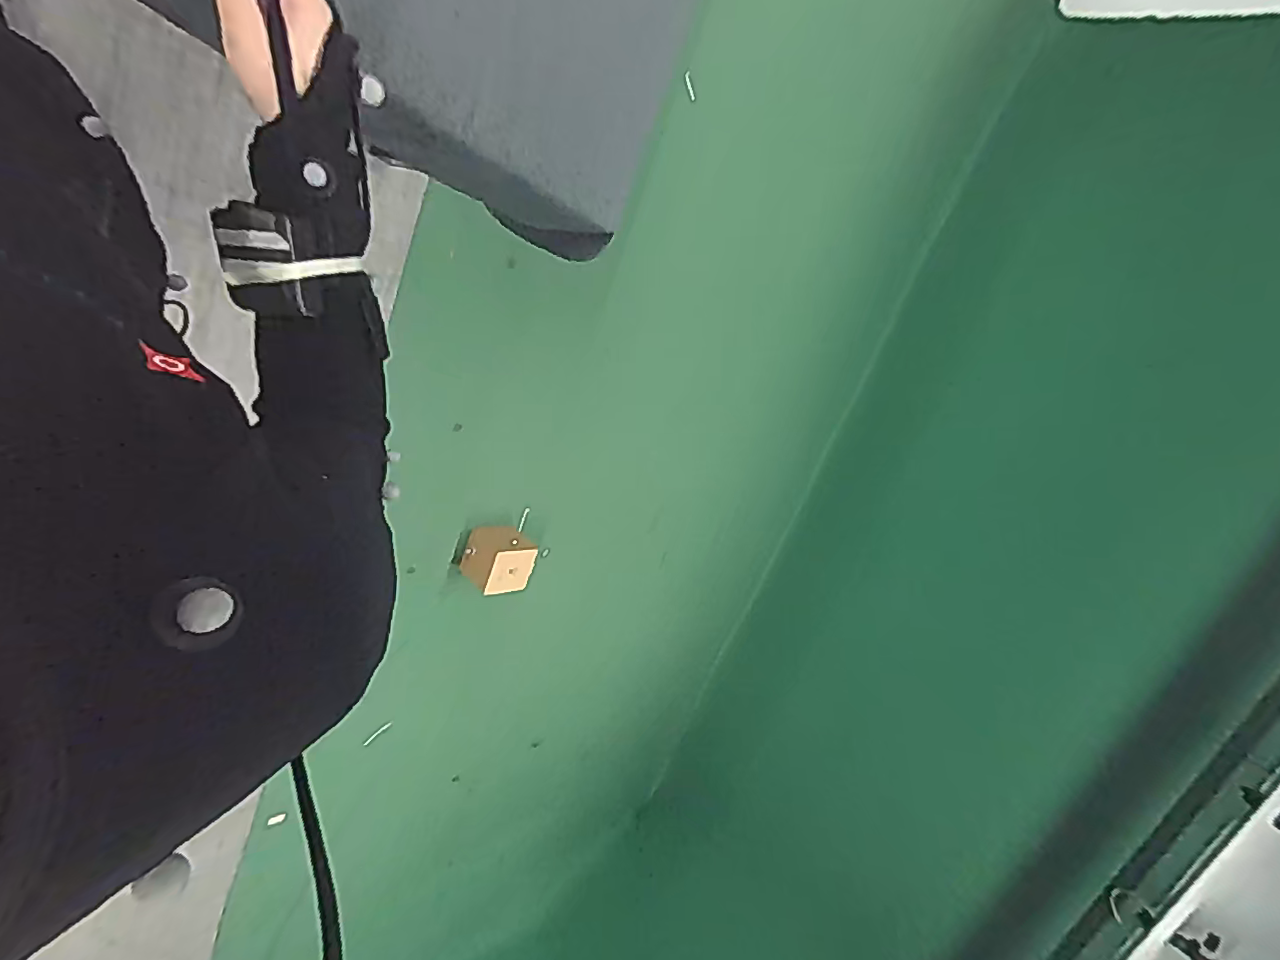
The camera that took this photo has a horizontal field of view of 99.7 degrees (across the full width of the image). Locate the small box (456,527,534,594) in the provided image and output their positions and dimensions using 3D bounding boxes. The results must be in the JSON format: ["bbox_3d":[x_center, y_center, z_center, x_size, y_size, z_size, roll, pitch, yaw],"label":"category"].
[{"bbox_3d":[-0.503,0.270,1.869,0.179,0.176,0.168,3,112,-51],"label":"small box"}]
